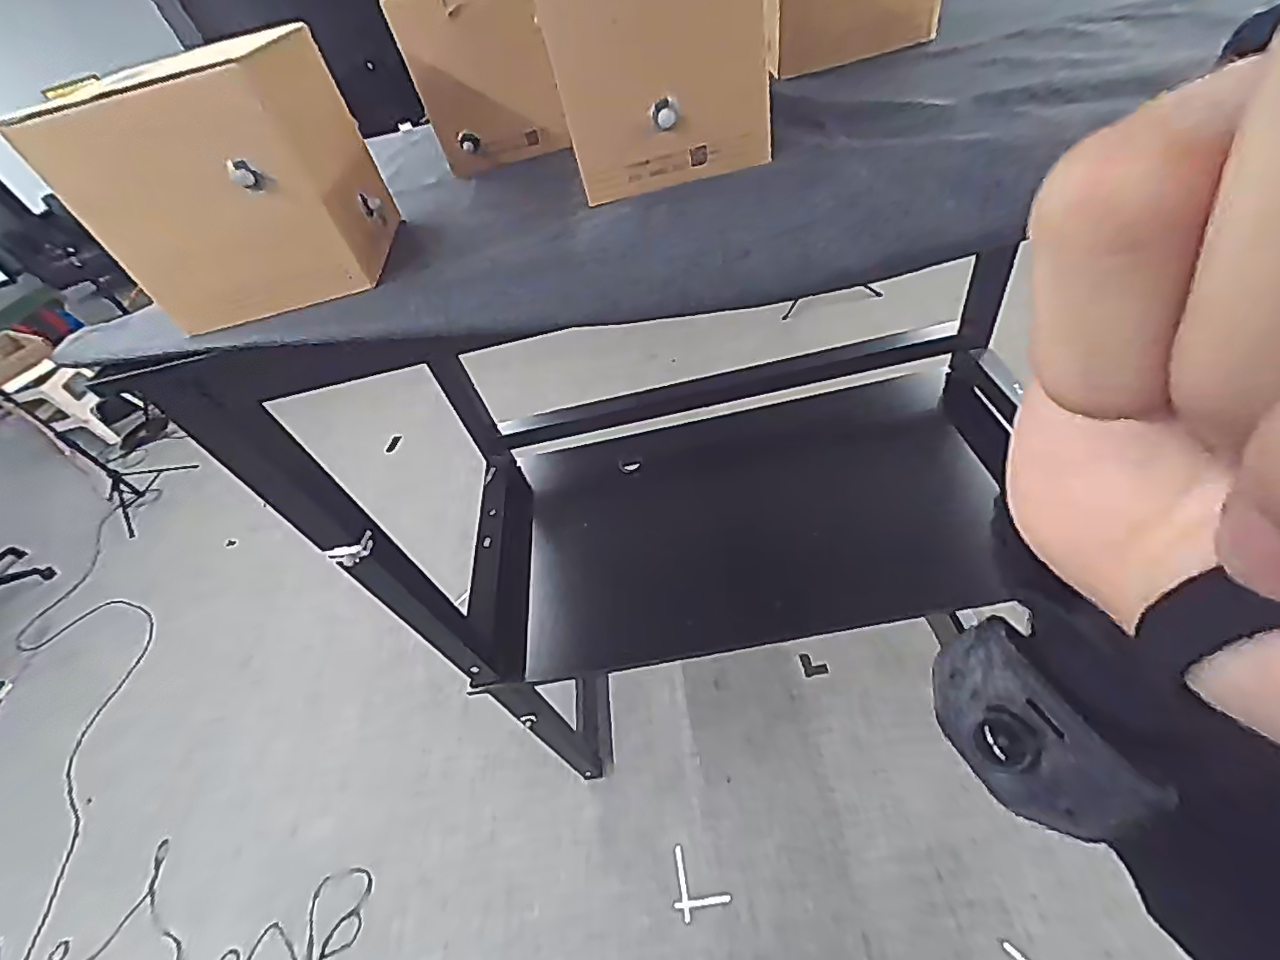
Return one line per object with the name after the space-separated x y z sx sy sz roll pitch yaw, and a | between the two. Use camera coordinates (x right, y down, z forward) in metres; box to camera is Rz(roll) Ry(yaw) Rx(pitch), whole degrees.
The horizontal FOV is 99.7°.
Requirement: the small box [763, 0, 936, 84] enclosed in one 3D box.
0.228 -0.586 0.612 0.179 0.176 0.168 -10 47 9 | small box

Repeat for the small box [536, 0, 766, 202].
0.013 -0.374 0.480 0.168 0.176 0.179 -10 46 8 | small box
